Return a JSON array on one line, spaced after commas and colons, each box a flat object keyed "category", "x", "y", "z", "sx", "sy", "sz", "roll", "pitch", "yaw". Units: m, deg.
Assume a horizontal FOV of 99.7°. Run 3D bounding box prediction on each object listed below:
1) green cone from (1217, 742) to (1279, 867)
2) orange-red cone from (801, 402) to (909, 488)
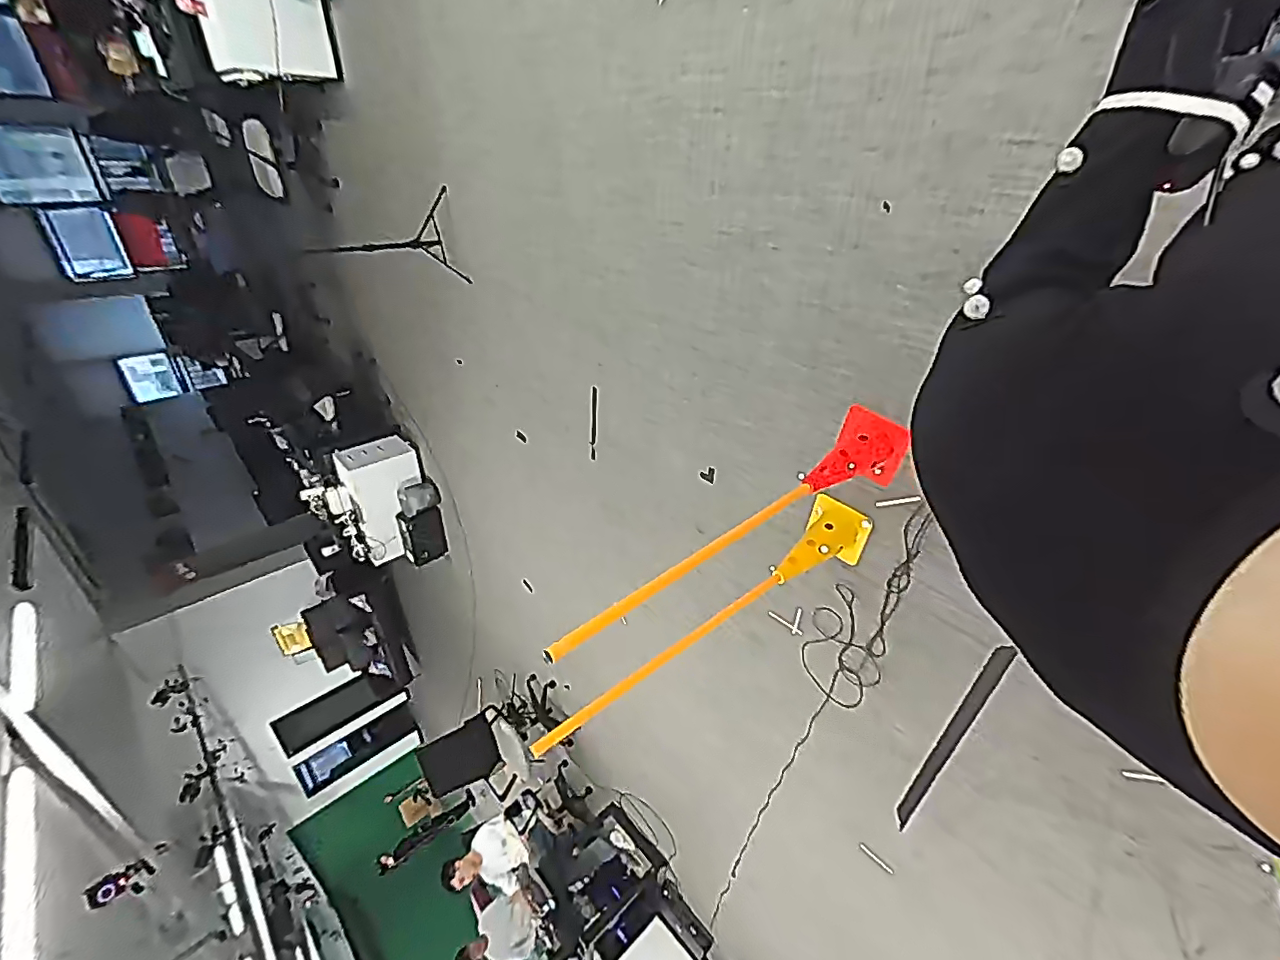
[{"category": "green cone", "x": 1.301, "y": 0.739, "z": 1.058, "sx": 0.202, "sy": 0.368, "sz": 0.200, "roll": 34, "pitch": 134, "yaw": 33}, {"category": "orange-red cone", "x": 0.555, "y": -0.058, "z": 1.504, "sx": 0.198, "sy": 0.360, "sz": 0.199, "roll": 37, "pitch": 134, "yaw": 30}]
